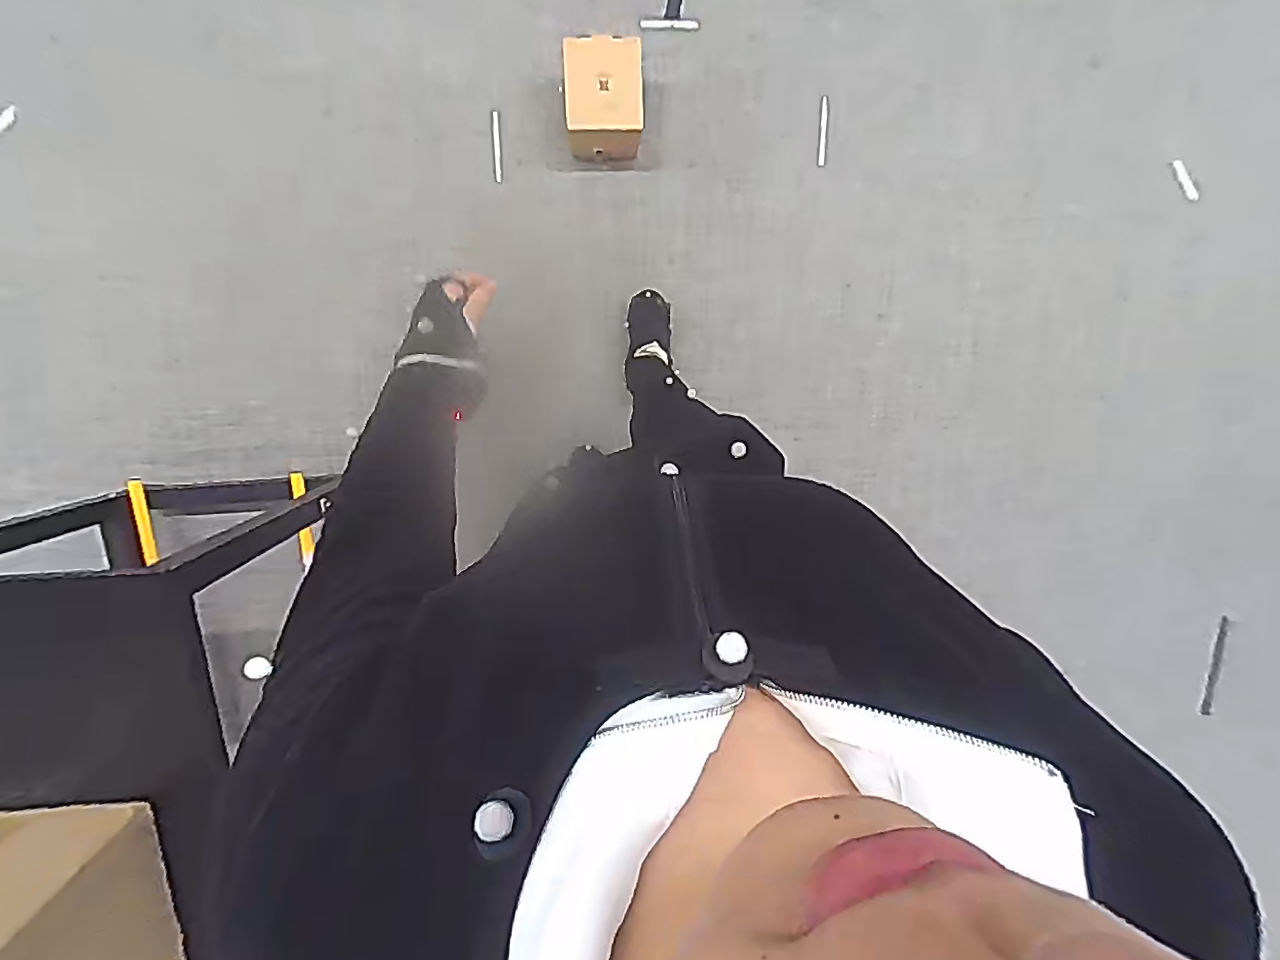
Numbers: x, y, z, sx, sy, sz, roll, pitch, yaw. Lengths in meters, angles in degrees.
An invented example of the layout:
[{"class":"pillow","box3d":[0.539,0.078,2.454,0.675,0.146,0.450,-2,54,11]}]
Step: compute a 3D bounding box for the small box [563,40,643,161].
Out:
[{"class":"small box","box3d":[-0.083,-0.842,1.214,0.168,0.176,0.179,-3,103,-3]}]
